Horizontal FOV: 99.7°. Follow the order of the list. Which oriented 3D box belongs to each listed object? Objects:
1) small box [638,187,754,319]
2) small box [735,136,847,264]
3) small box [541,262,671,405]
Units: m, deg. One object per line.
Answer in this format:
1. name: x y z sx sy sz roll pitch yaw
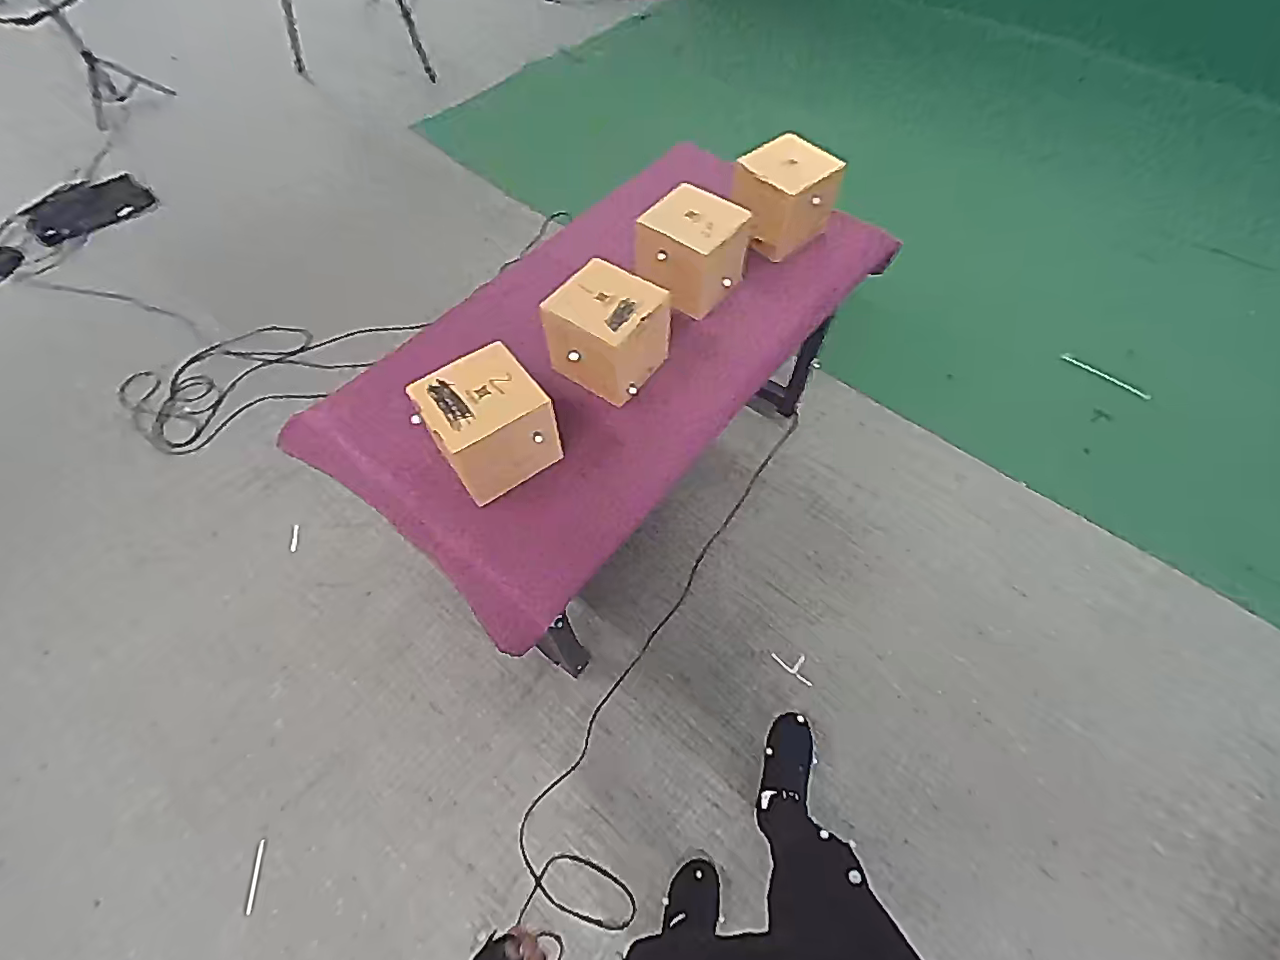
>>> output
1. small box: 0.112 -0.473 1.141 0.179 0.176 0.168 35 67 19
2. small box: 0.330 -0.634 1.231 0.179 0.176 0.168 -37 66 -17
3. small box: -0.058 -0.270 1.027 0.179 0.176 0.168 32 65 19
